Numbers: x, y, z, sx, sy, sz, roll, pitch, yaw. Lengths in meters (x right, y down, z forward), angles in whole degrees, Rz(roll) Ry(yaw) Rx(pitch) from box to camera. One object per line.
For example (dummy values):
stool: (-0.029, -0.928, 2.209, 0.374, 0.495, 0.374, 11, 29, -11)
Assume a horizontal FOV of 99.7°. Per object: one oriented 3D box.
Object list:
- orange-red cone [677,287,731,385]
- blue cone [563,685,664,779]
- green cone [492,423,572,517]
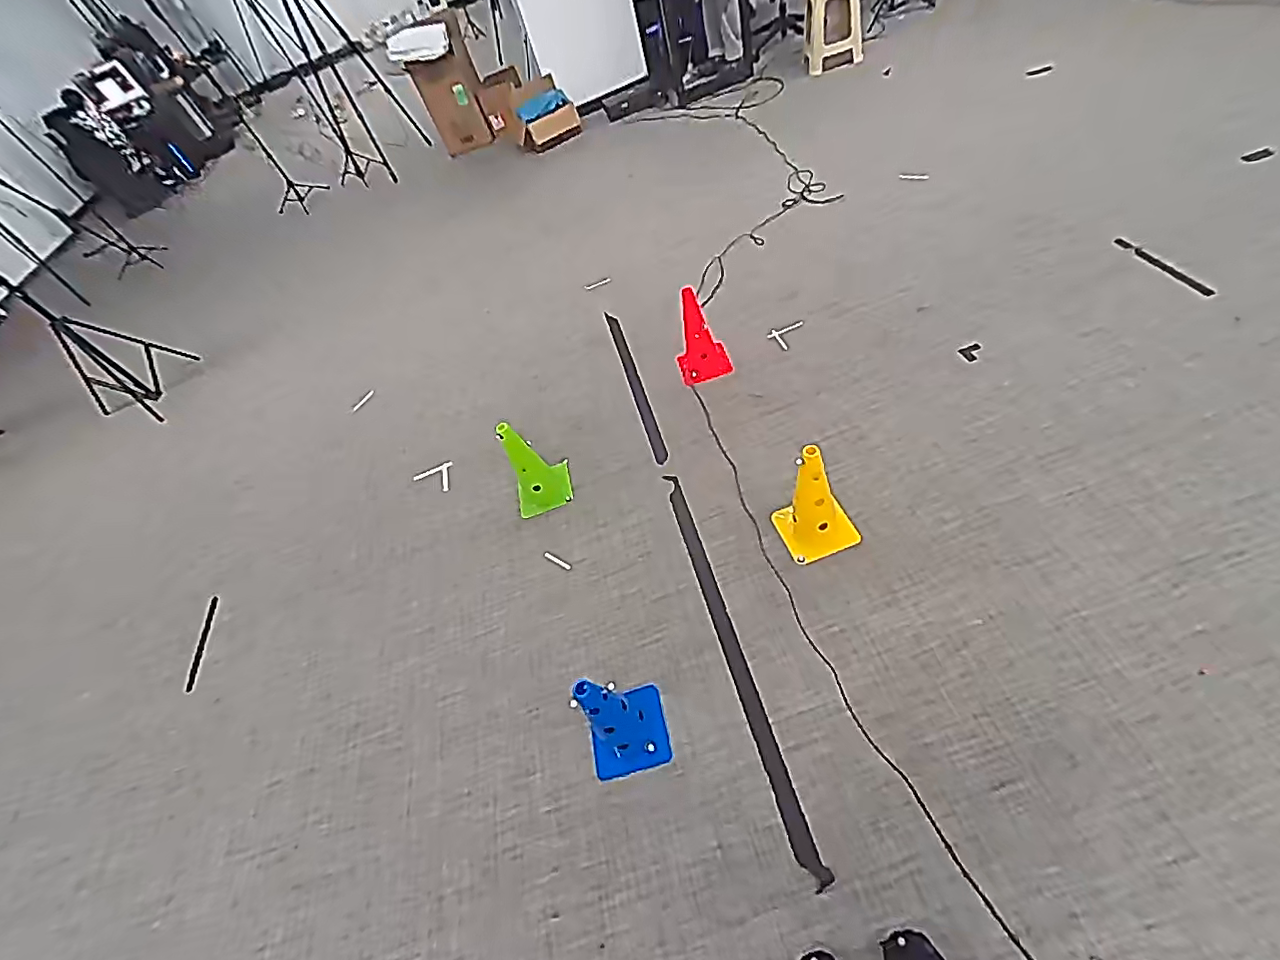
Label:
orange-red cone: (0.212, -0.571, 2.054, 0.199, 0.360, 0.198, -16, 51, 5)
blue cone: (-0.084, 0.557, 1.280, 0.192, 0.380, 0.193, -18, 49, 6)
green cone: (-0.403, -0.069, 1.872, 0.202, 0.368, 0.200, -21, 49, 4)
